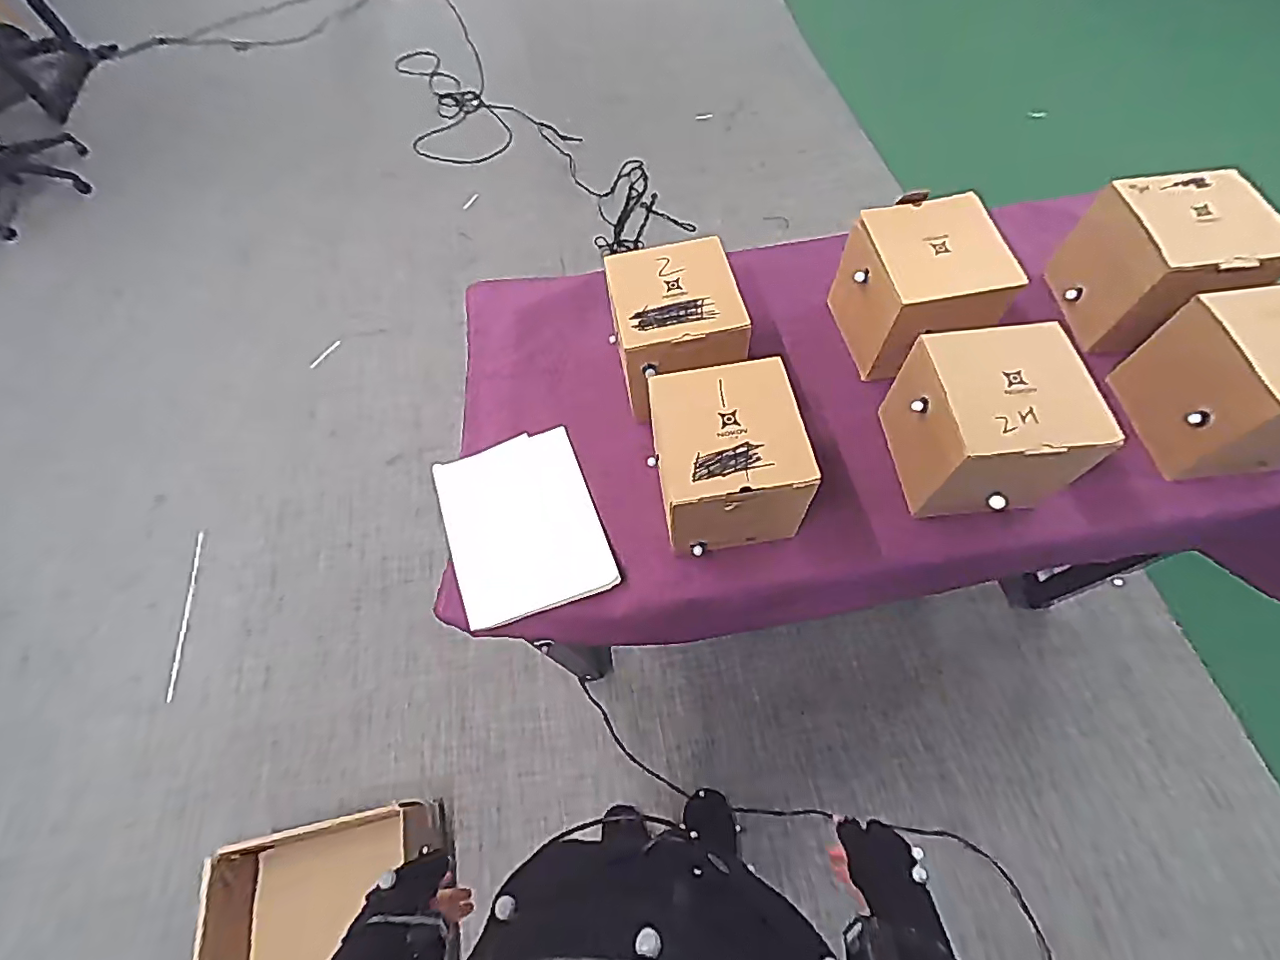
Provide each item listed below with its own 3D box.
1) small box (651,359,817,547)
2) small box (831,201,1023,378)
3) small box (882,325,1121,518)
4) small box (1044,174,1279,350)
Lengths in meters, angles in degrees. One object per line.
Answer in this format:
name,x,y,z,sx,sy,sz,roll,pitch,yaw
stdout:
small box,0.109,-0.023,0.686,0.168,0.176,0.179,-8,62,1
small box,0.401,-0.267,0.792,0.168,0.176,0.179,-10,62,0
small box,0.430,-0.068,0.684,0.168,0.176,0.179,-5,62,2
small box,0.739,-0.302,0.780,0.168,0.176,0.179,-3,63,3
